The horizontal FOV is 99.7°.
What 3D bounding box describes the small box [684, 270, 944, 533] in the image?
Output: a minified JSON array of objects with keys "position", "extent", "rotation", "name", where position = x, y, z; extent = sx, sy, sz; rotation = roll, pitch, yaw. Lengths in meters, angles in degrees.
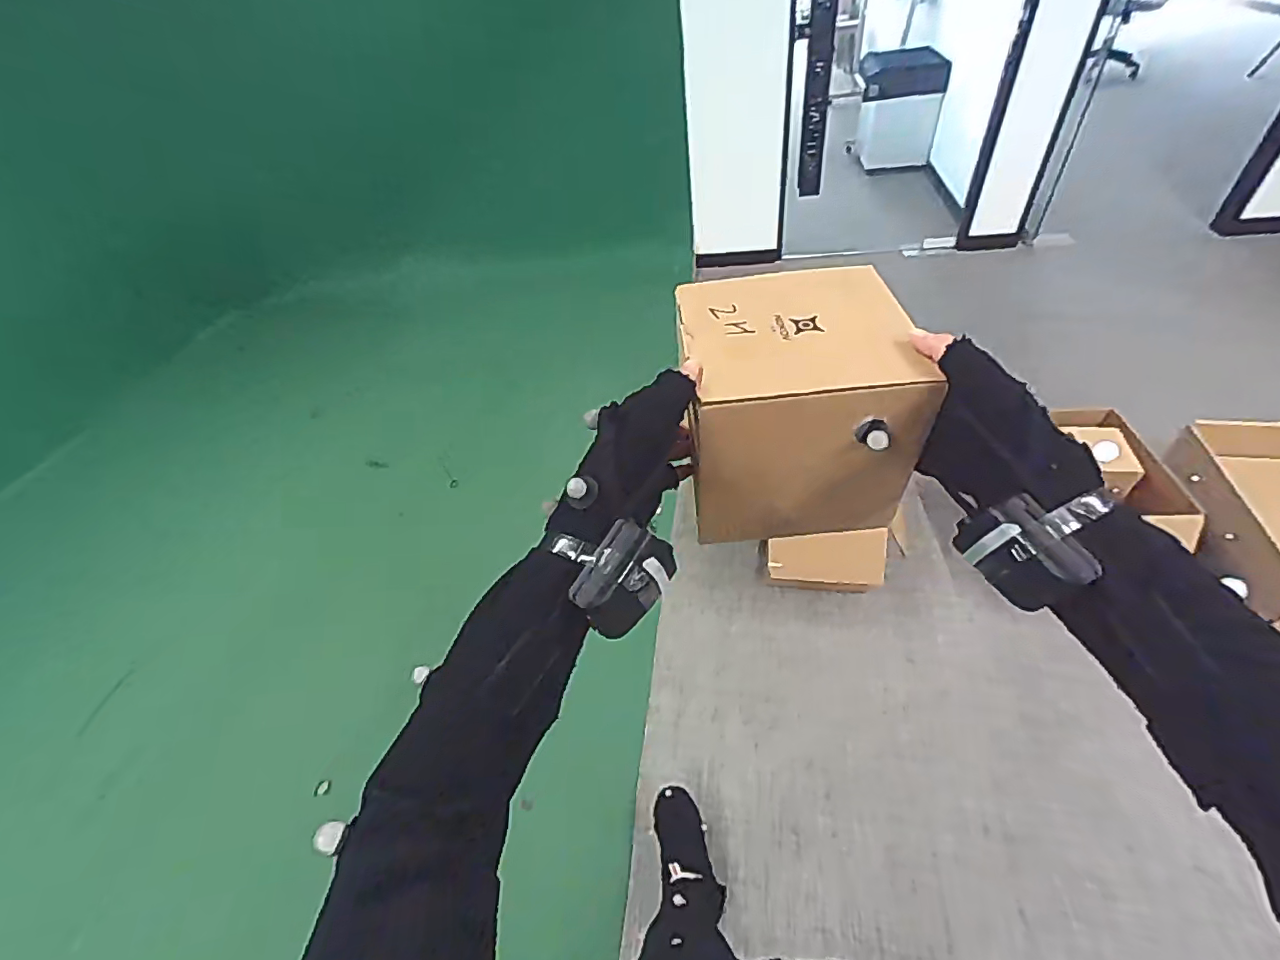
[{"position":[0.133,-0.068,0.495],"extent":[0.179,0.176,0.168],"rotation":[-5,47,2],"name":"small box"}]
